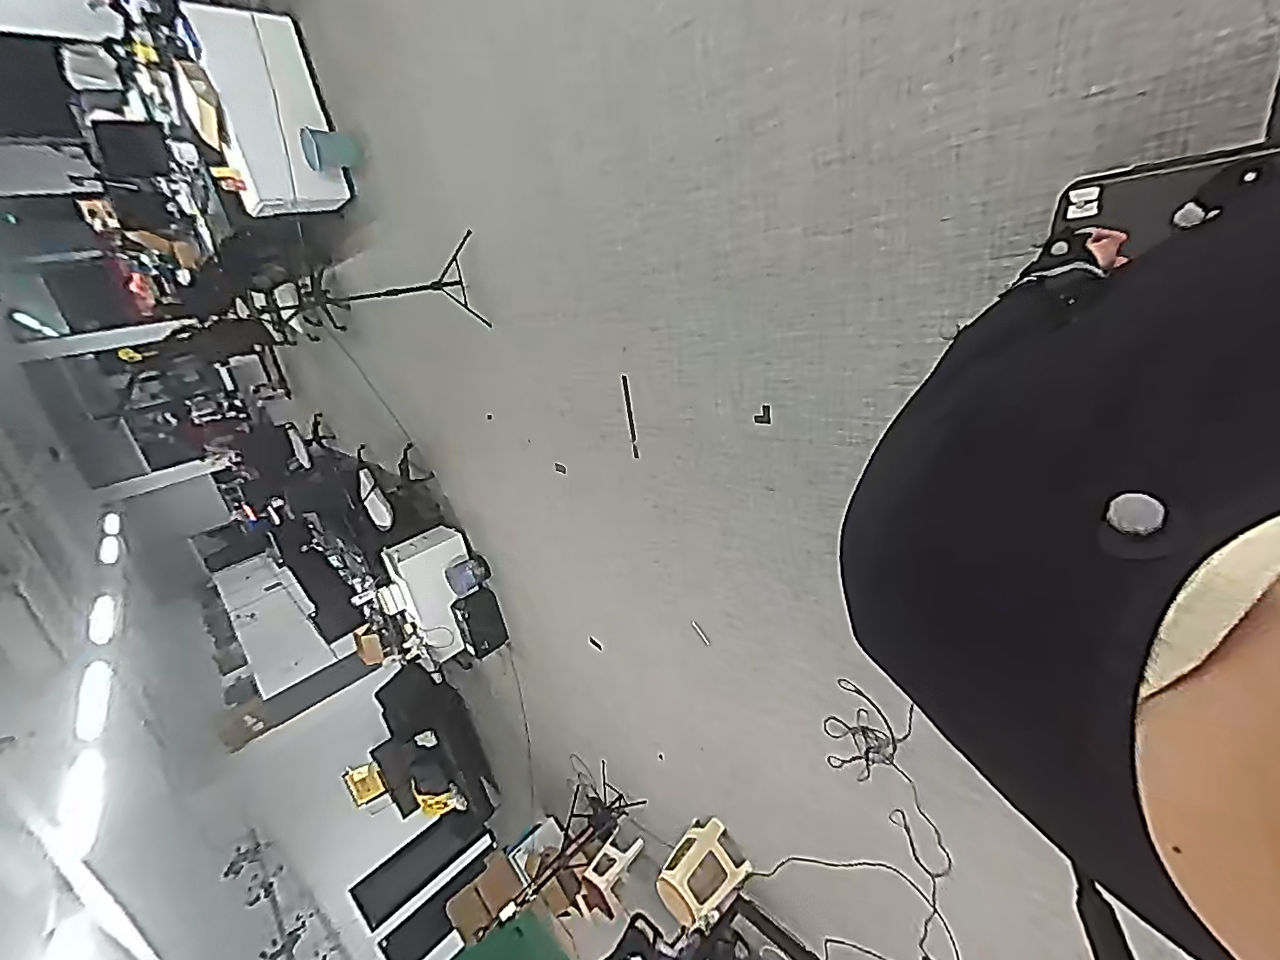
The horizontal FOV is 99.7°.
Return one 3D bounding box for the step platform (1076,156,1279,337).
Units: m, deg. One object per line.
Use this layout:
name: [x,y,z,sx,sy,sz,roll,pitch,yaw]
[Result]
step platform: [1.141,-0.383,0.869,0.684,0.204,0.286,17,123,43]
